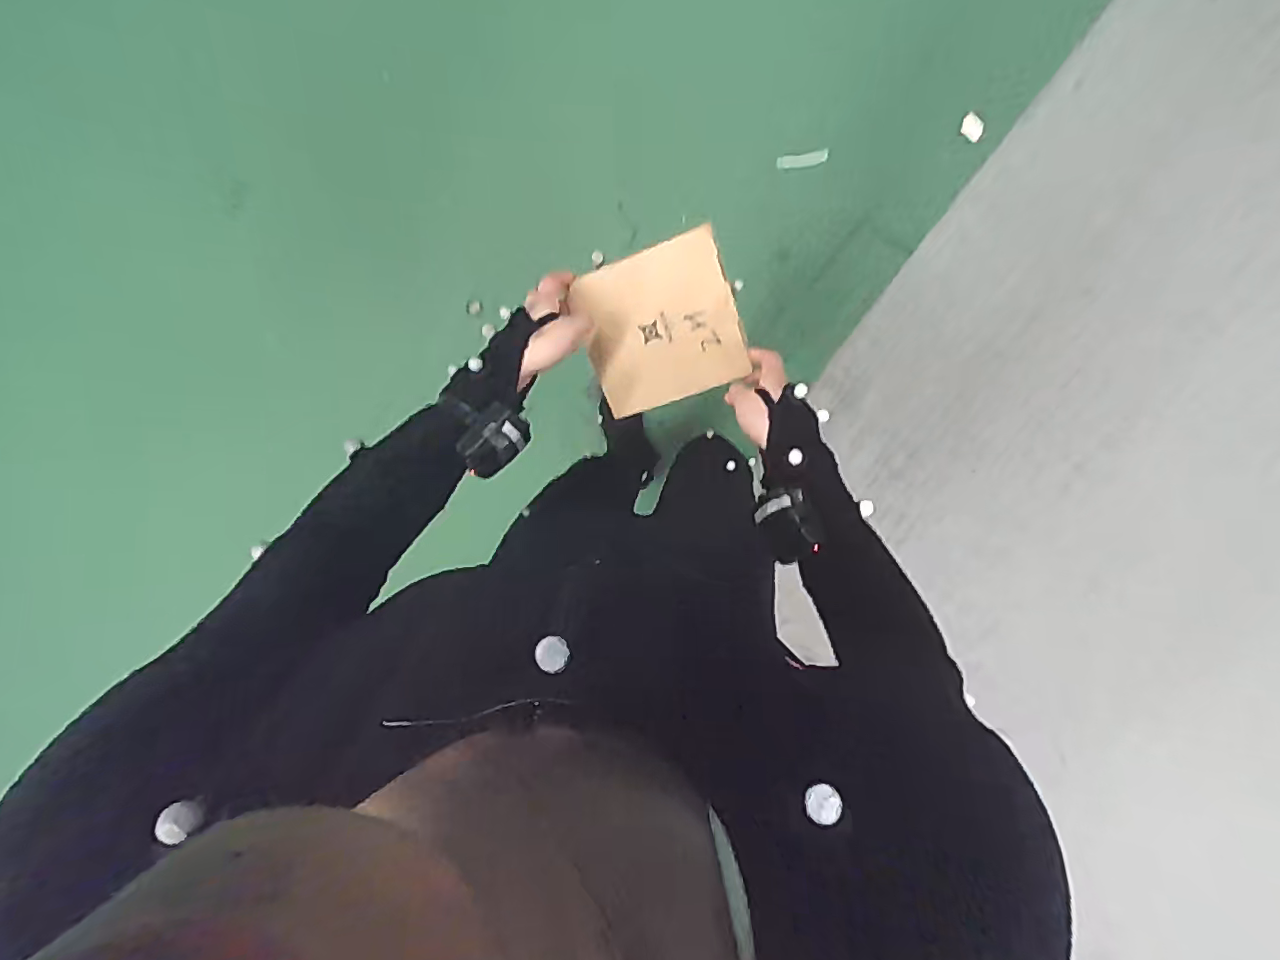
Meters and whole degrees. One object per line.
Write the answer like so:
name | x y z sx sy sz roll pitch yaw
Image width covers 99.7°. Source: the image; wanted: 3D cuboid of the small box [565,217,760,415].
small box | 0.036 -0.203 0.659 0.179 0.176 0.168 -17 114 15
